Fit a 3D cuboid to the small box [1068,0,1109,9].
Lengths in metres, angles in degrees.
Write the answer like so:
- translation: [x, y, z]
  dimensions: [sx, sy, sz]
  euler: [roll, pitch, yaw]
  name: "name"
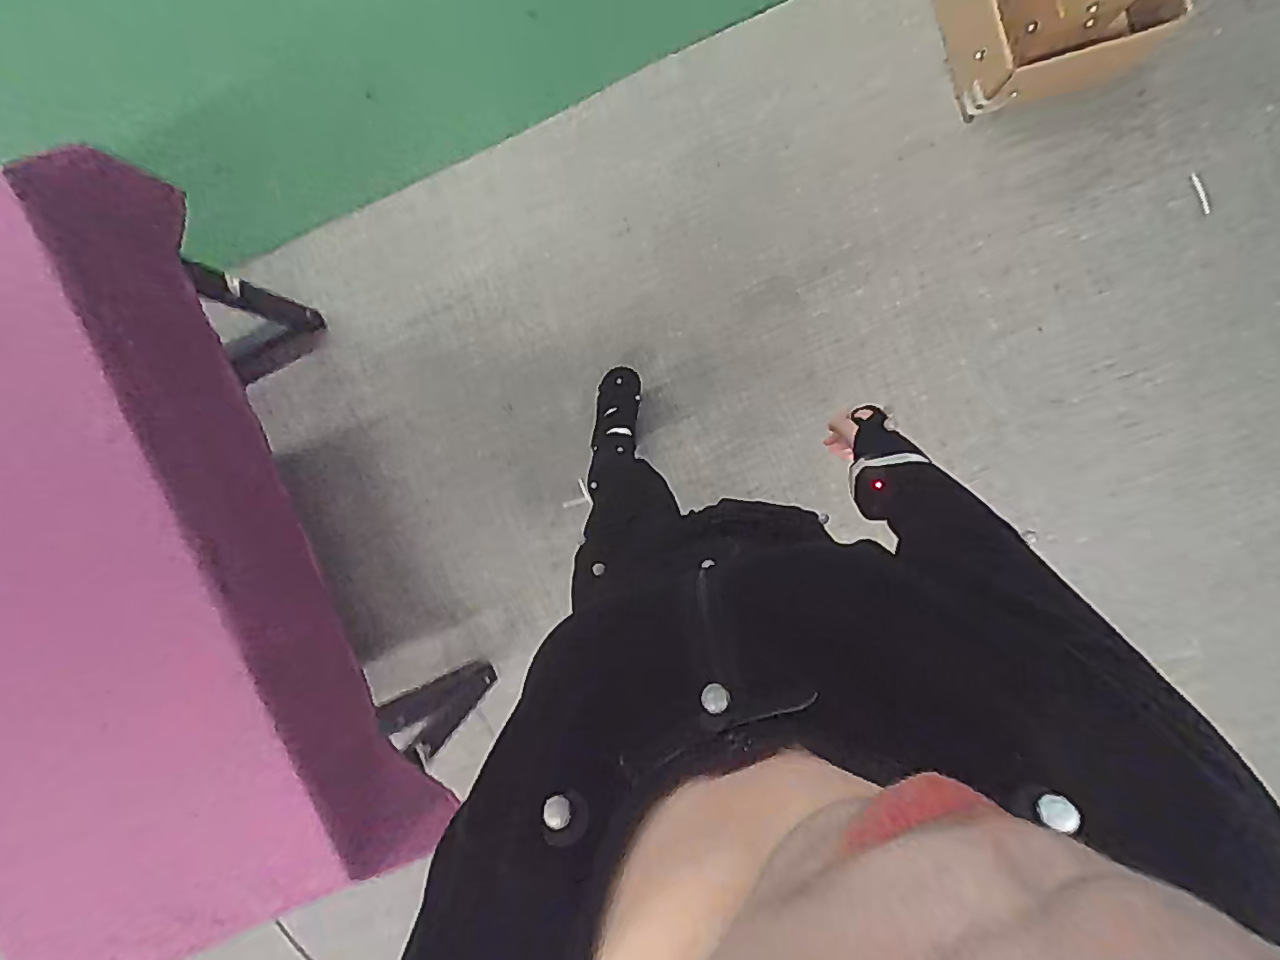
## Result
- translation: [0.971, -1.093, 1.070]
  dimensions: [0.168, 0.176, 0.179]
  euler: [-16, 89, 6]
  name: "small box"
